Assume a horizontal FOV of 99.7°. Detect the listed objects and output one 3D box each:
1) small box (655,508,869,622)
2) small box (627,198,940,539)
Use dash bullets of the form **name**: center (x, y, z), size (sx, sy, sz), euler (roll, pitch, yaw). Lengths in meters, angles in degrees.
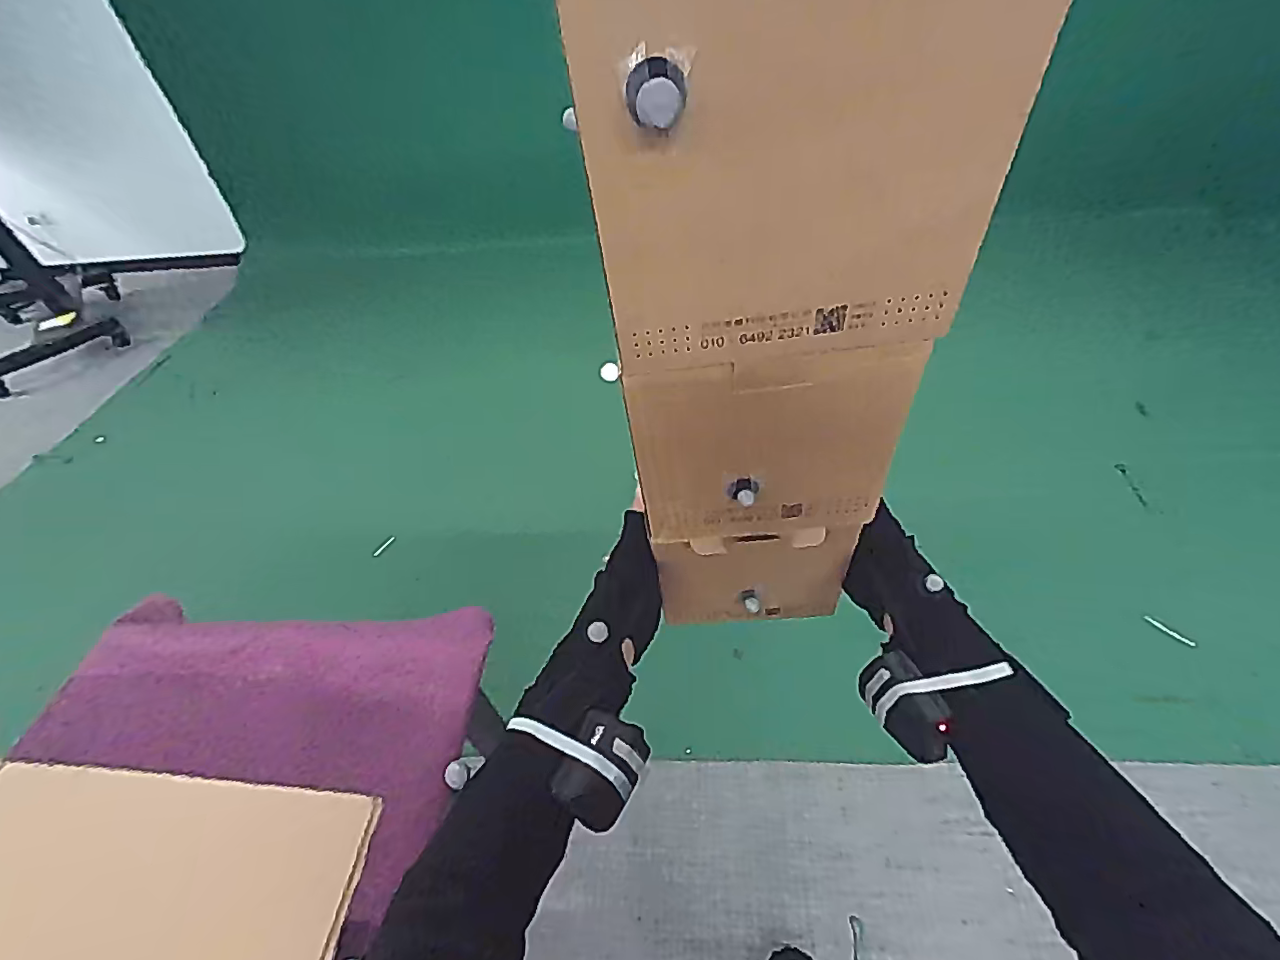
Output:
- **small box**: center (0.103, 0.020, 0.530), size (0.168, 0.176, 0.179), euler (-5, 50, 6)
- **small box**: center (0.082, -0.078, 0.401), size (0.168, 0.176, 0.179), euler (-7, 50, 3)
